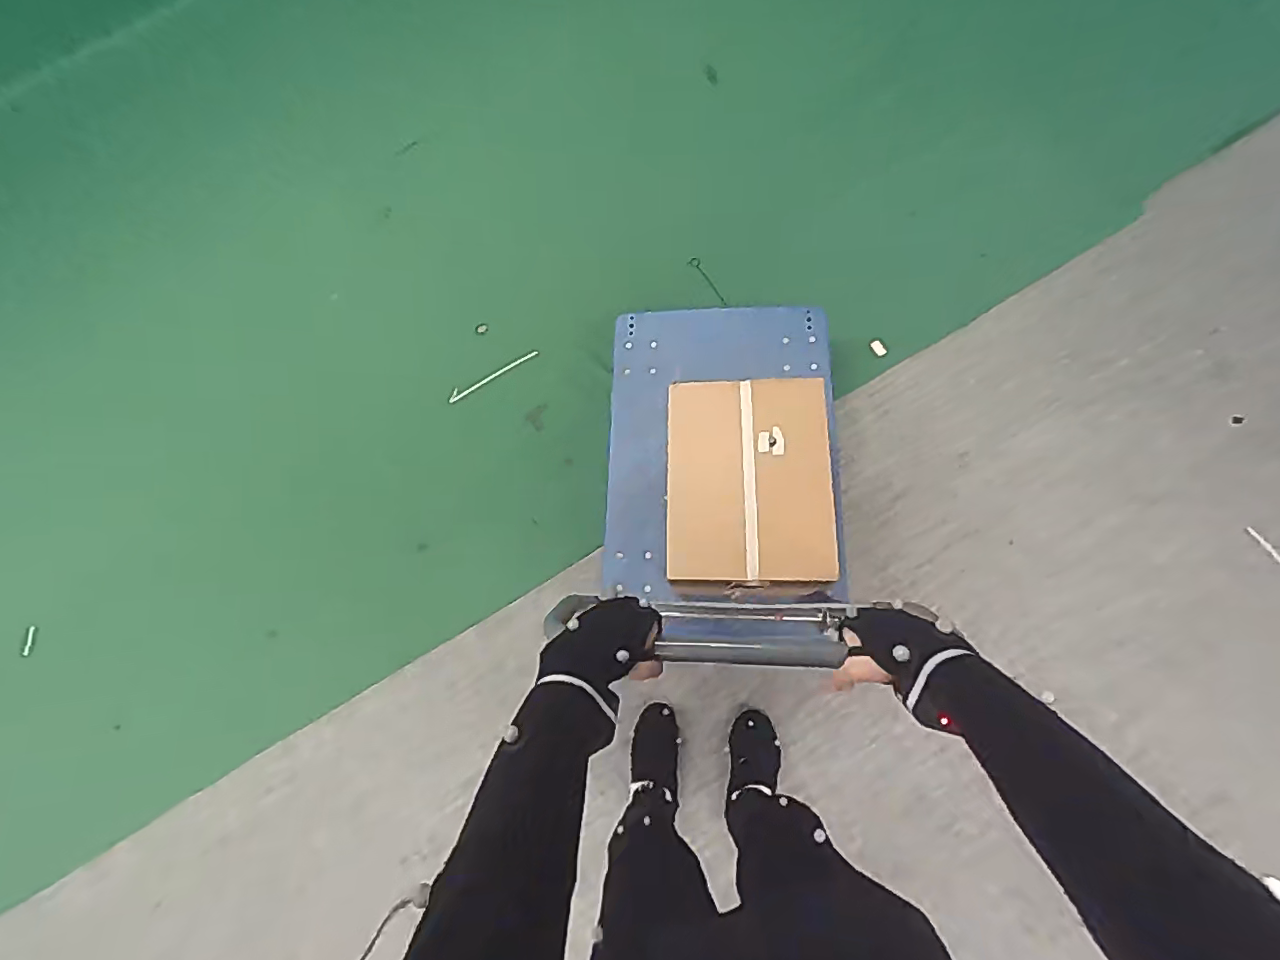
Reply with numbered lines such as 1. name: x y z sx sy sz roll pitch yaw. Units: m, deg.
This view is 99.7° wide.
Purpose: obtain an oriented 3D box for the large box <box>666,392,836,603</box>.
1. large box: 0.226 0.058 1.202 0.320 0.320 0.408 0 73 6
